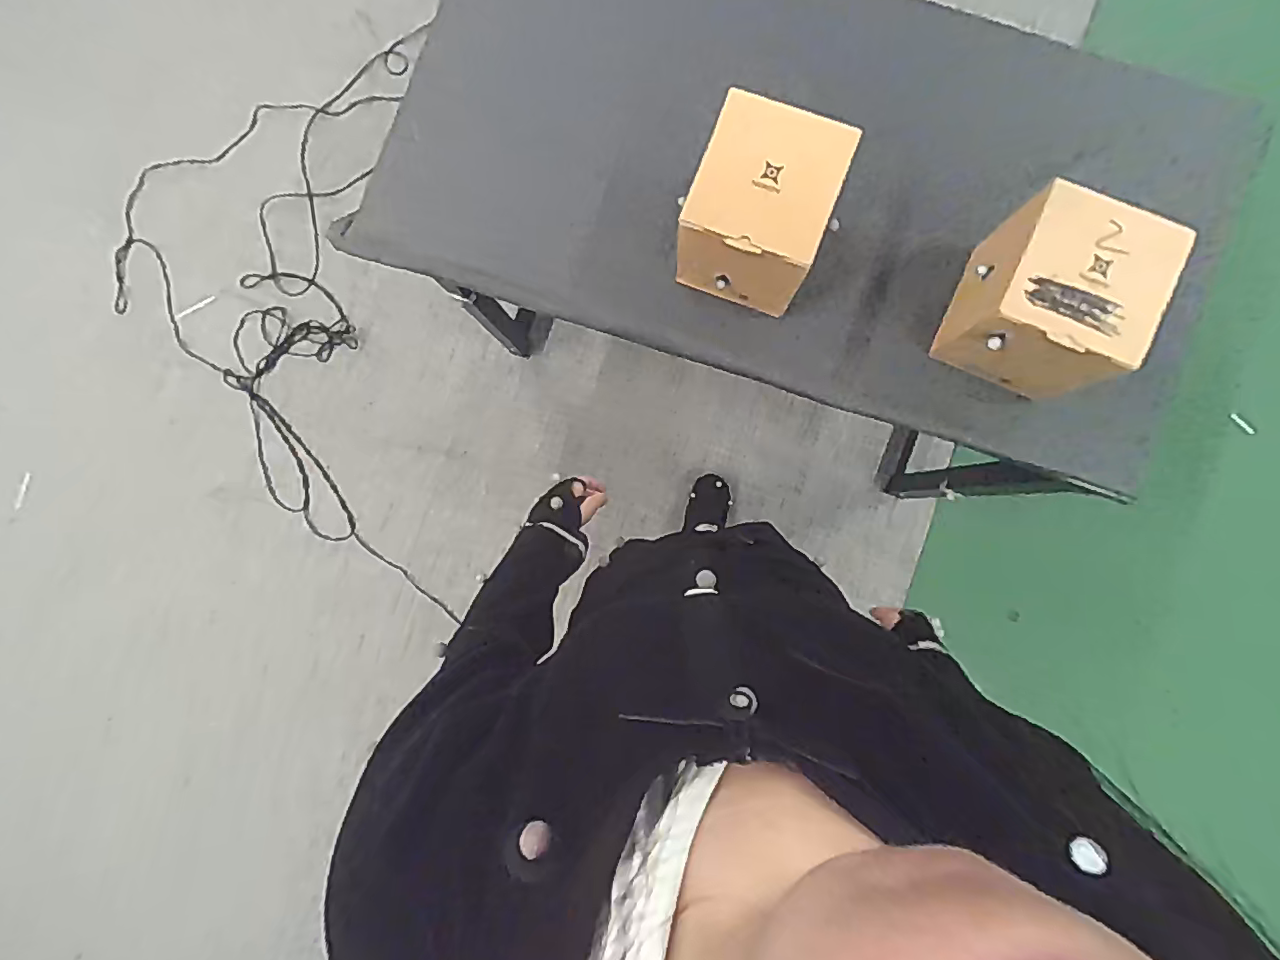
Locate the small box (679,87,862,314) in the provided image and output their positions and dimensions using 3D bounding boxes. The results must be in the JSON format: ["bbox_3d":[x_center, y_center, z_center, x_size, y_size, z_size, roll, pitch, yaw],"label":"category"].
[{"bbox_3d":[0.155,-0.348,0.706,0.168,0.176,0.179,21,88,2],"label":"small box"}]
